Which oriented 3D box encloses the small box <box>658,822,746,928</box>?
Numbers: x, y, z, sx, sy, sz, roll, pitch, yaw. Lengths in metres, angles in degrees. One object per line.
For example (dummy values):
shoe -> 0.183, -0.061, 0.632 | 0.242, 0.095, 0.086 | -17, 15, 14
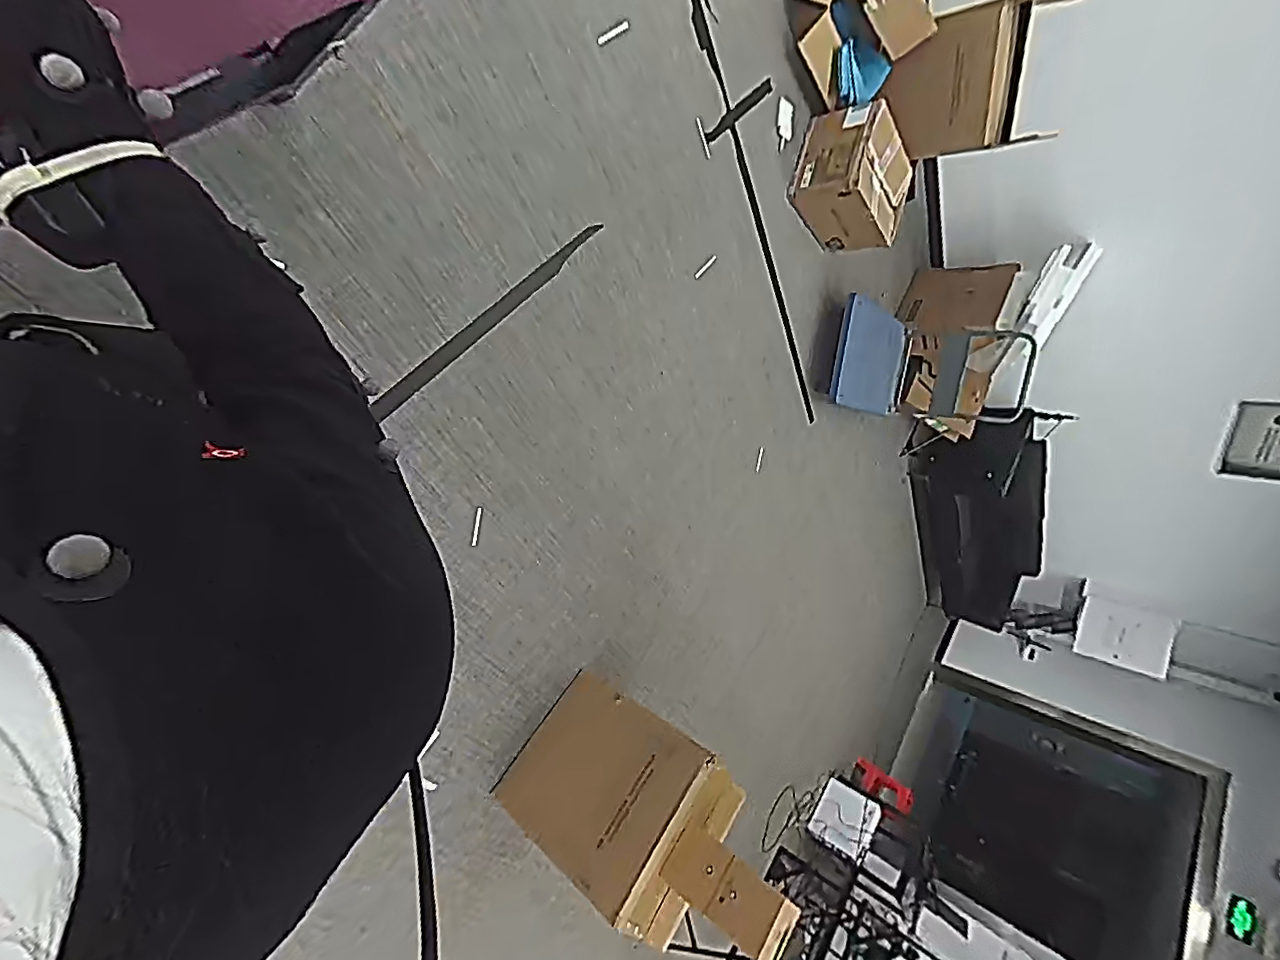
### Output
small box -> 0.182, 1.160, 1.598 | 0.179, 0.176, 0.168 | -50, 132, -25
